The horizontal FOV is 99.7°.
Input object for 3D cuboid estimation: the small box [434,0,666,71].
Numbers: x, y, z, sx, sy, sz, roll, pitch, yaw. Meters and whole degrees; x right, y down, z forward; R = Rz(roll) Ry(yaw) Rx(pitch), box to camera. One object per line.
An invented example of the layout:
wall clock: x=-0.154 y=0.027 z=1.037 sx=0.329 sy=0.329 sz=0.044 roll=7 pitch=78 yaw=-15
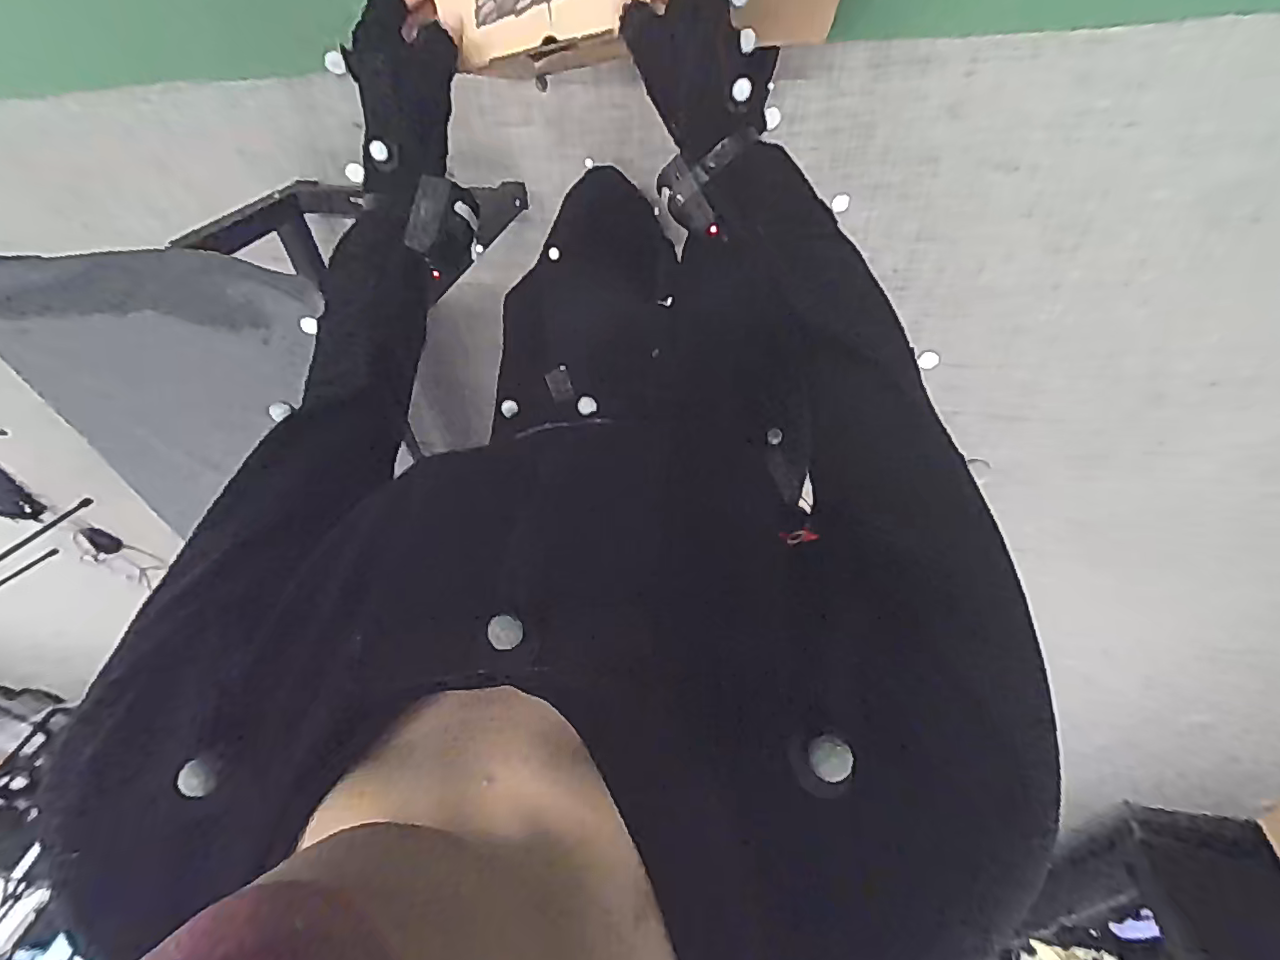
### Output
small box: x=-0.075 y=-0.456 z=0.442 sx=0.168 sy=0.176 sz=0.179 roll=-4 pitch=122 yaw=11
